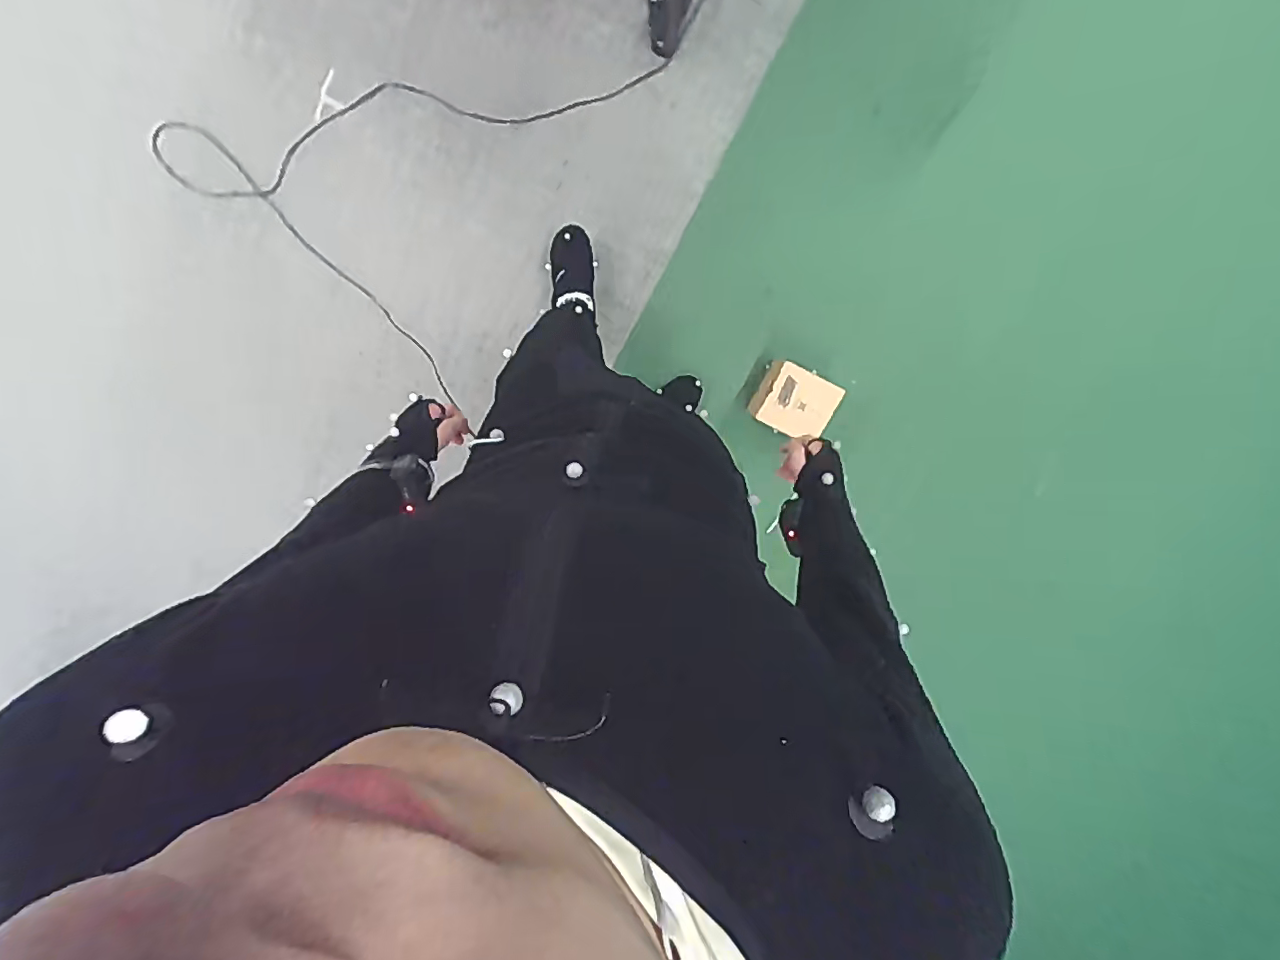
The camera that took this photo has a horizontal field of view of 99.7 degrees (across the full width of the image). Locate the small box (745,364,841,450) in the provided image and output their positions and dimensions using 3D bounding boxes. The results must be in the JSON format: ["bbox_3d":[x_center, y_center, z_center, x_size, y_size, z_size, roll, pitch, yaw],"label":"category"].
[{"bbox_3d":[0.403,-0.203,1.465,0.179,0.176,0.168,26,105,-4],"label":"small box"}]
